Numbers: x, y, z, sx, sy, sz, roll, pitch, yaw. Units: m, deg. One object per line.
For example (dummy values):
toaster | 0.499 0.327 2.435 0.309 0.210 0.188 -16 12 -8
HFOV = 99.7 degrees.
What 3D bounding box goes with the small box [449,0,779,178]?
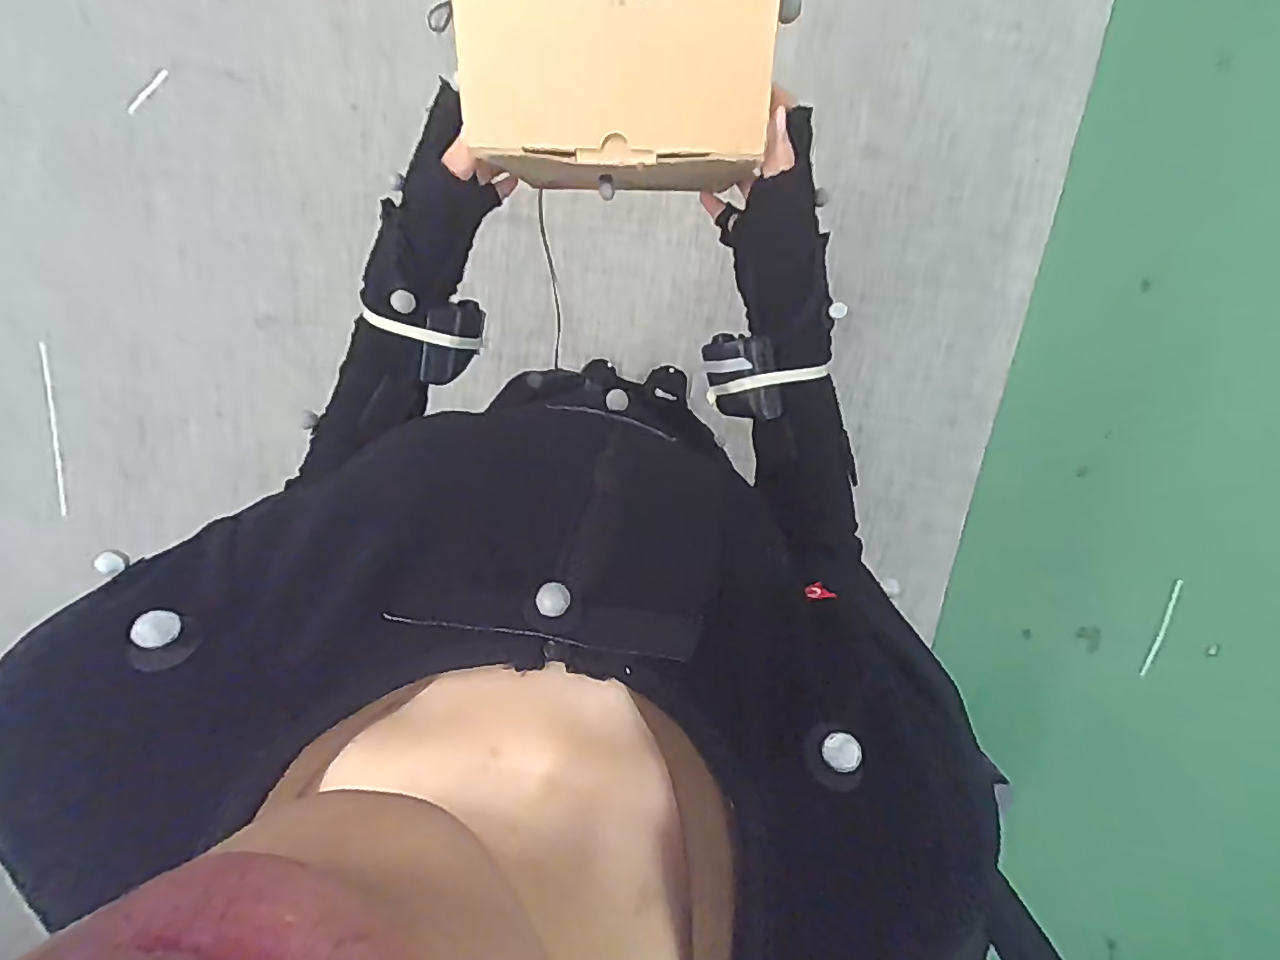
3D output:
small box | -0.011 -0.295 0.328 0.168 0.176 0.179 1 114 1
